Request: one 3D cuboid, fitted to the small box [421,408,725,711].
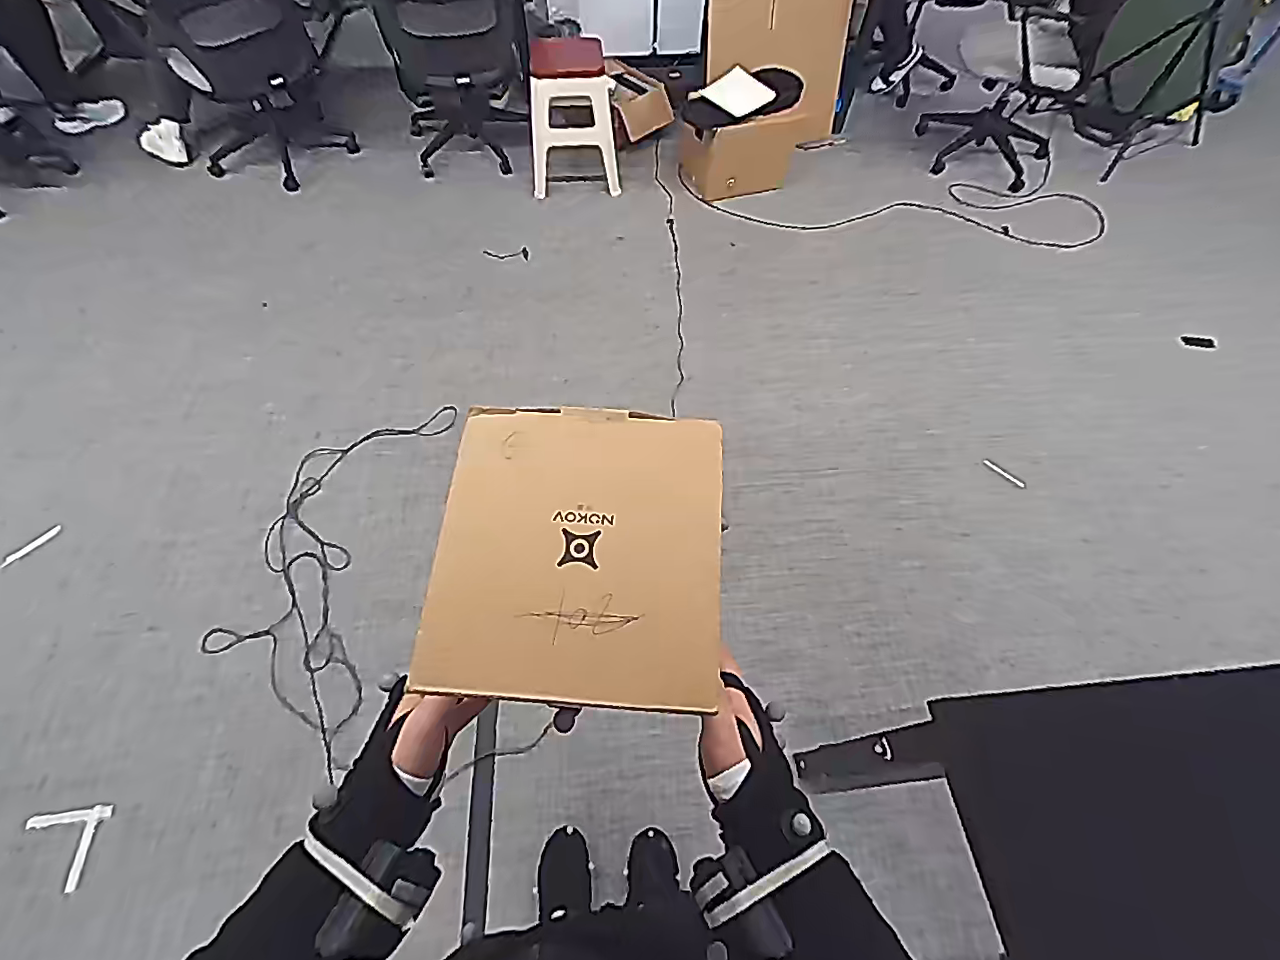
[{"bbox_3d":[-0.032,0.068,0.394,0.168,0.176,0.179,3,67,1],"label":"small box"}]
